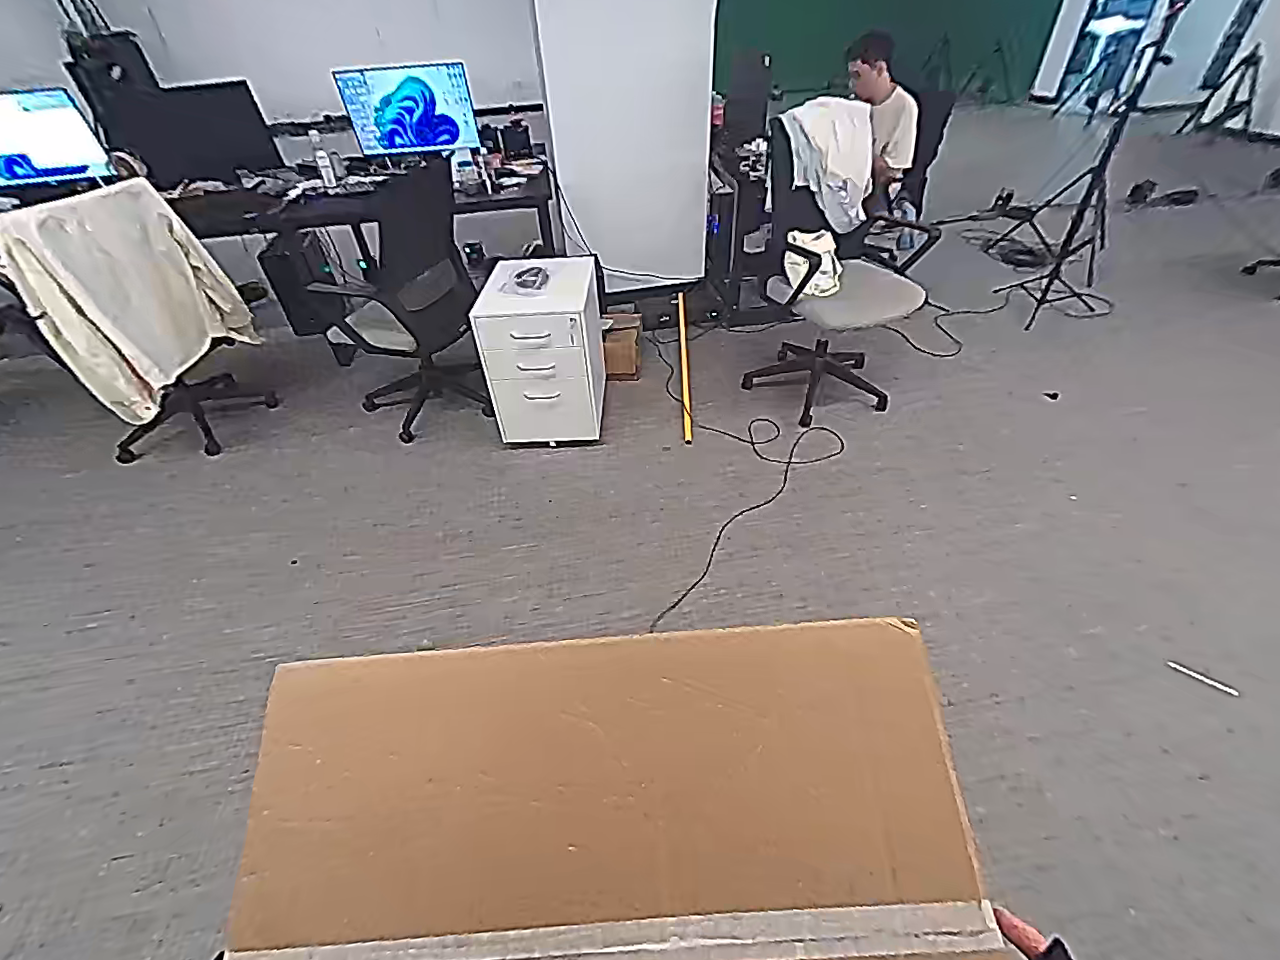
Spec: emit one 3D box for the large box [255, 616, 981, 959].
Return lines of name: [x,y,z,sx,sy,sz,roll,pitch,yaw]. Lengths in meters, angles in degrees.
large box: [-0.012,0.304,0.435,0.408,0.320,0.320,-5,68,1]
